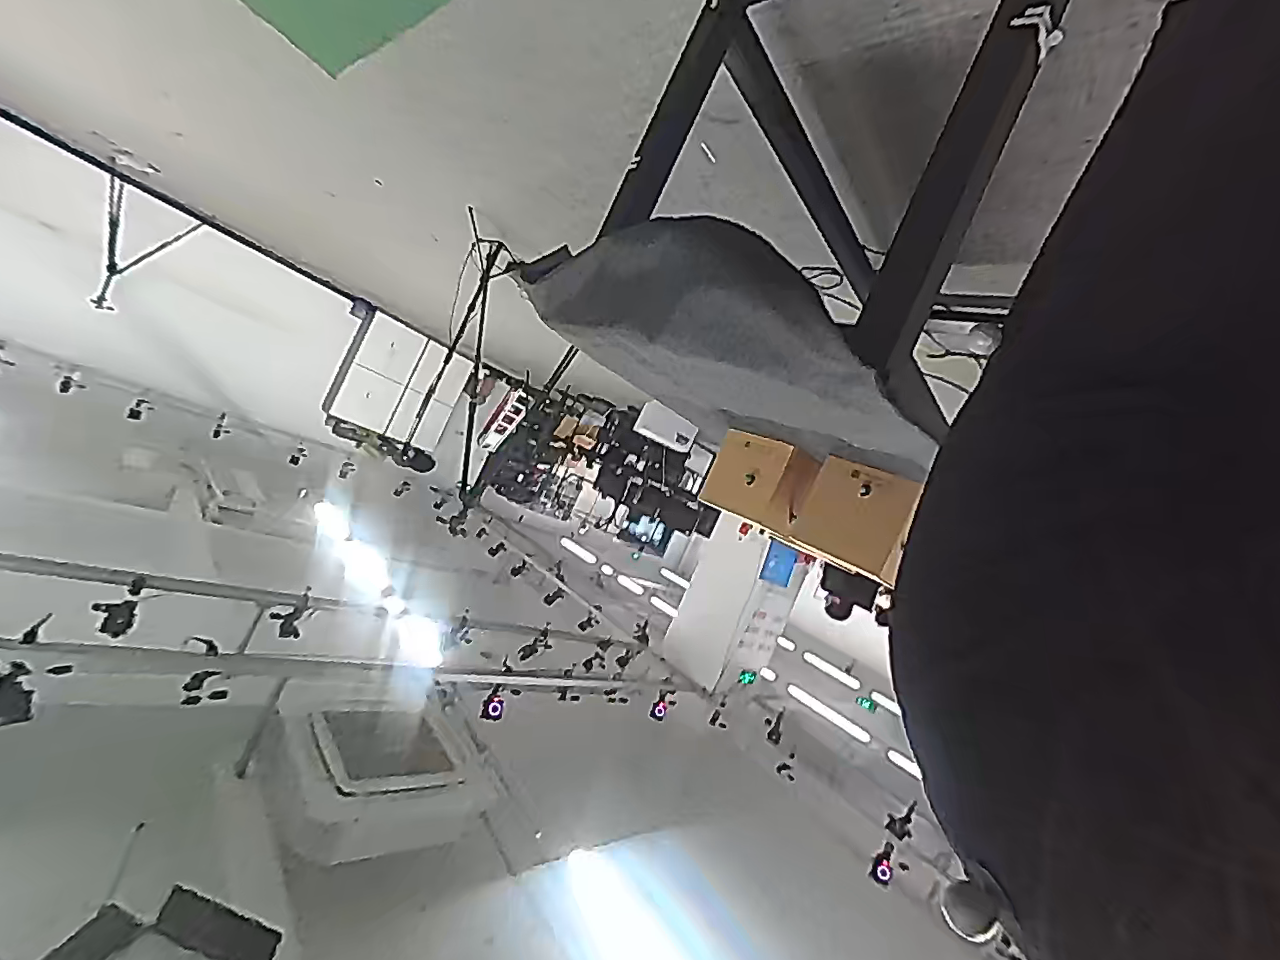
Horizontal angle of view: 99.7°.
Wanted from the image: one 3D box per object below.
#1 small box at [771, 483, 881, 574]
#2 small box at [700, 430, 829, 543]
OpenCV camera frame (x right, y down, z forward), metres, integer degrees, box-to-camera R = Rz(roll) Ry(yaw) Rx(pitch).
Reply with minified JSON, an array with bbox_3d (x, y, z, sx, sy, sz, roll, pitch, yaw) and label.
[{"bbox_3d":[0.454,0.105,1.313,0.179,0.176,0.168,26,179,-44],"label":"small box"},{"bbox_3d":[0.262,0.010,1.124,0.179,0.176,0.168,25,179,-43],"label":"small box"}]
